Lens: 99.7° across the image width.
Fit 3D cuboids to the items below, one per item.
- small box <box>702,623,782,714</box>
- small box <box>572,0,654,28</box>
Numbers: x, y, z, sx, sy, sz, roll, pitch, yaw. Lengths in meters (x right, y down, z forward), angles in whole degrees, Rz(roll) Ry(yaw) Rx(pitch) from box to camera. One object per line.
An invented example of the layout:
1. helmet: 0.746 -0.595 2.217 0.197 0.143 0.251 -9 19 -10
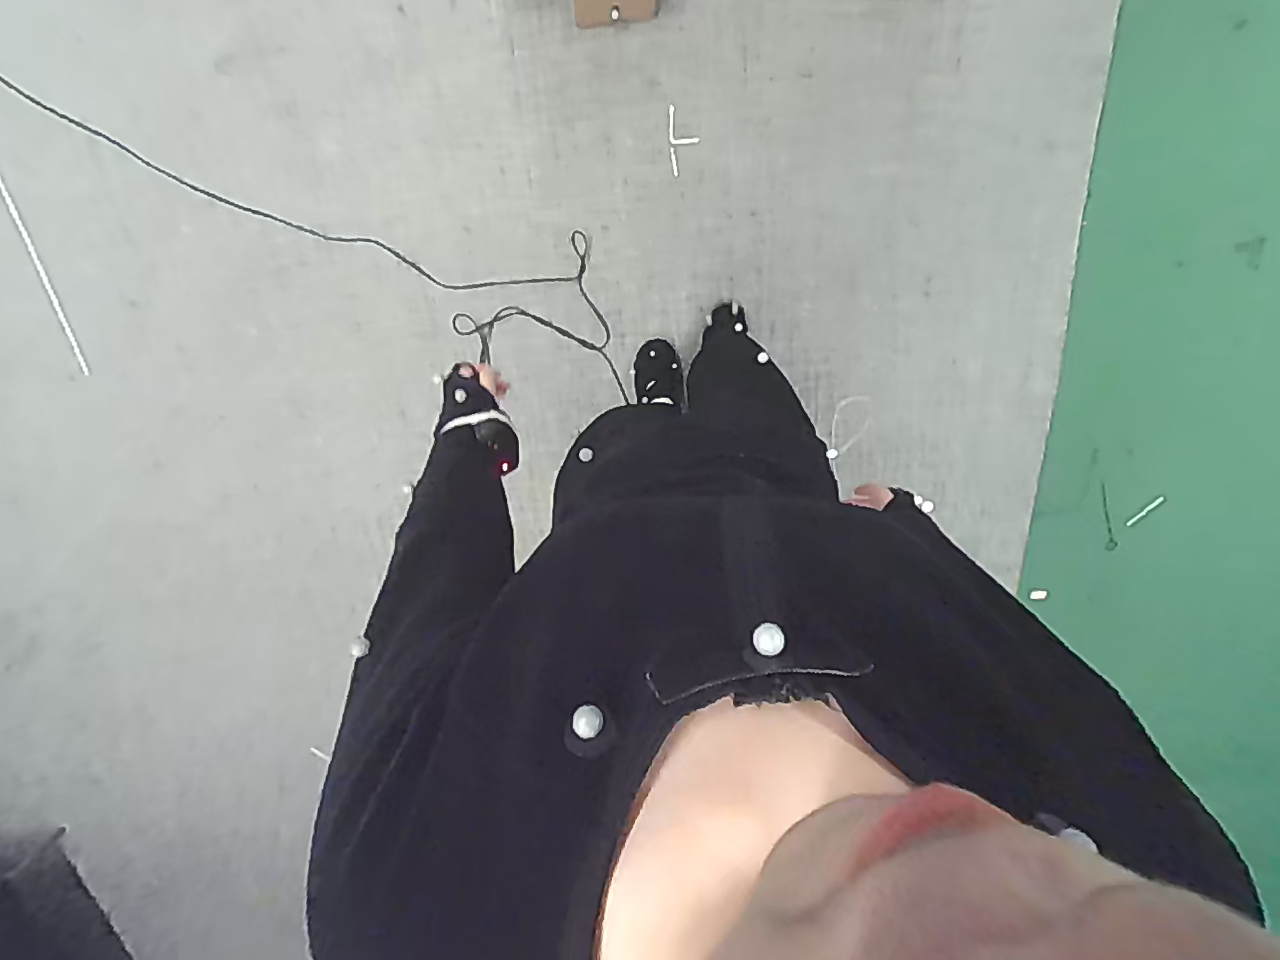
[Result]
1. small box: 0.267 0.500 1.451 0.179 0.176 0.168 -1 110 -1
2. small box: -0.058 -1.029 1.066 0.168 0.176 0.179 -5 111 1
